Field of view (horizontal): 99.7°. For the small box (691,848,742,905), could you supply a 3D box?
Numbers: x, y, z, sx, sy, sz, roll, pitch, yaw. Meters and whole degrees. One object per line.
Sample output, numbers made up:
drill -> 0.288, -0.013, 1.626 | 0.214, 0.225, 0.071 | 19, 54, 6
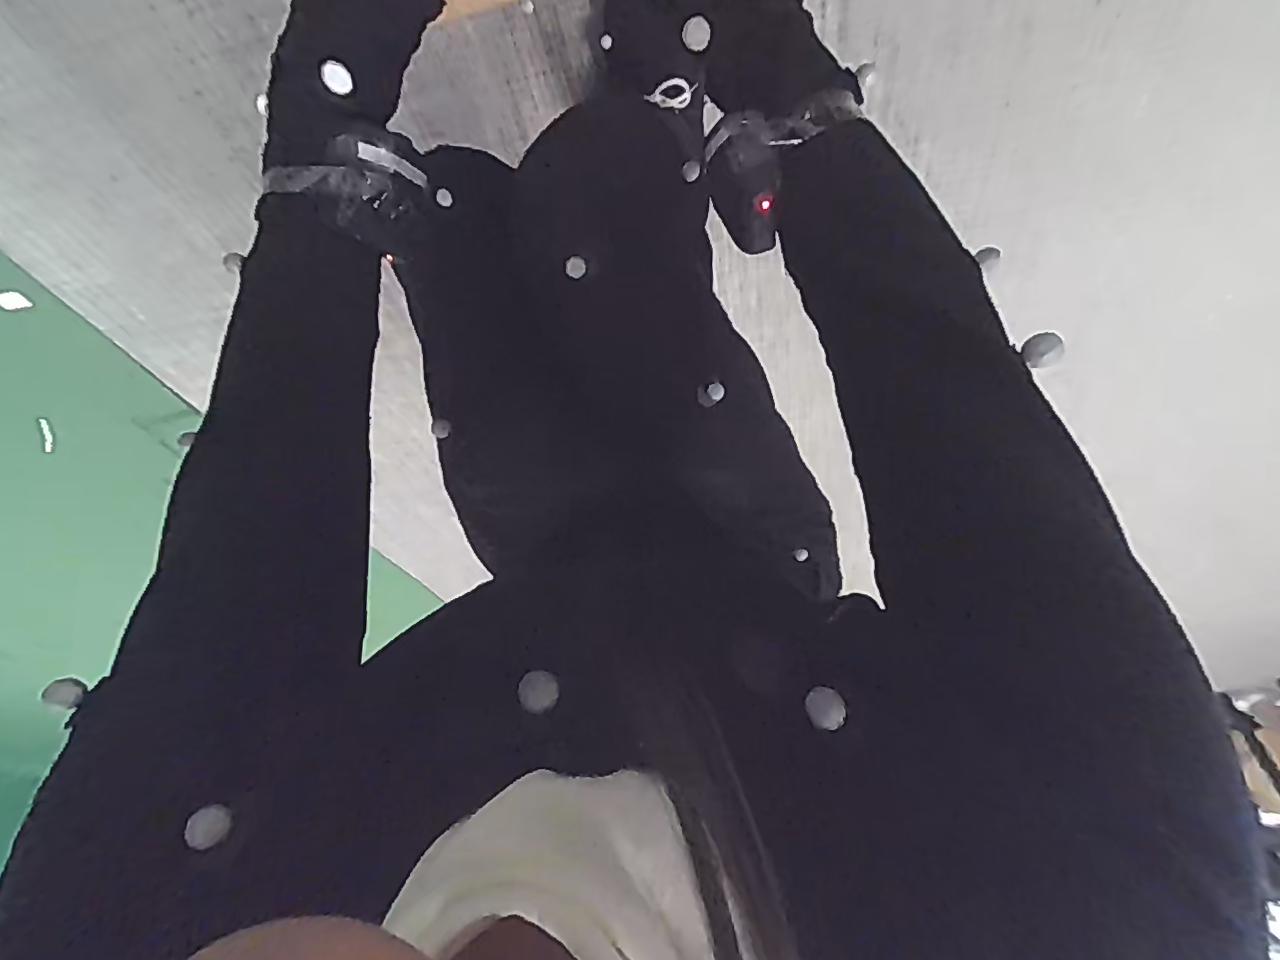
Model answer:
small box -> 0.302, 1.575, 2.148 | 0.179, 0.176, 0.168 | -12, 145, 10

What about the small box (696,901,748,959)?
small box -> 0.311, 1.713, 2.060 | 0.179, 0.176, 0.168 | -10, 145, 10
